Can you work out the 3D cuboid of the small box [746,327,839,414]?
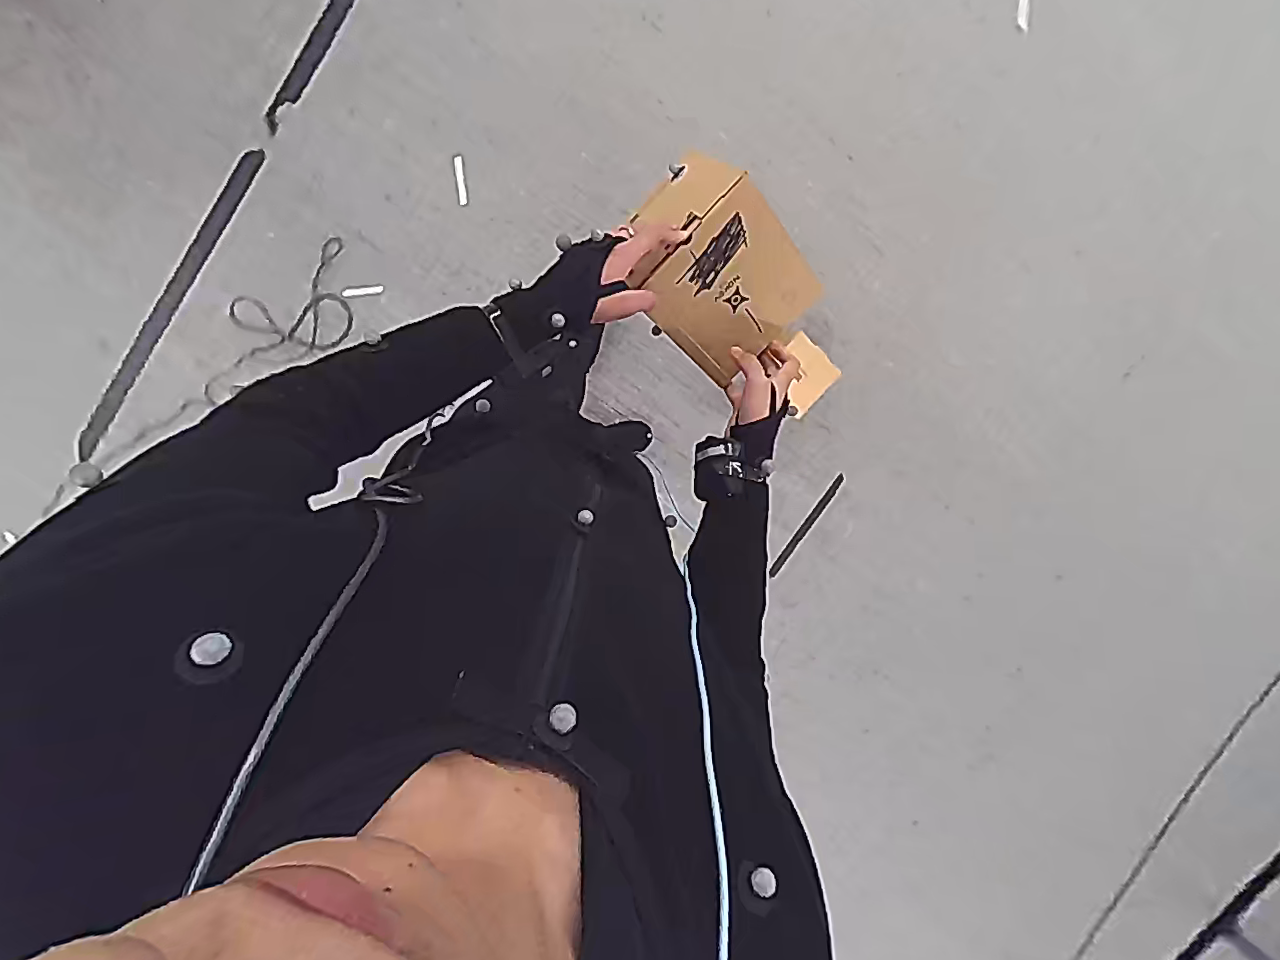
[{"bbox_3d":[0.421,-0.308,1.537,0.168,0.176,0.179,42,95,-11],"label":"small box"}]

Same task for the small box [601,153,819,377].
[{"bbox_3d":[0.075,-0.265,0.659,0.168,0.176,0.179,-43,129,16],"label":"small box"}]
